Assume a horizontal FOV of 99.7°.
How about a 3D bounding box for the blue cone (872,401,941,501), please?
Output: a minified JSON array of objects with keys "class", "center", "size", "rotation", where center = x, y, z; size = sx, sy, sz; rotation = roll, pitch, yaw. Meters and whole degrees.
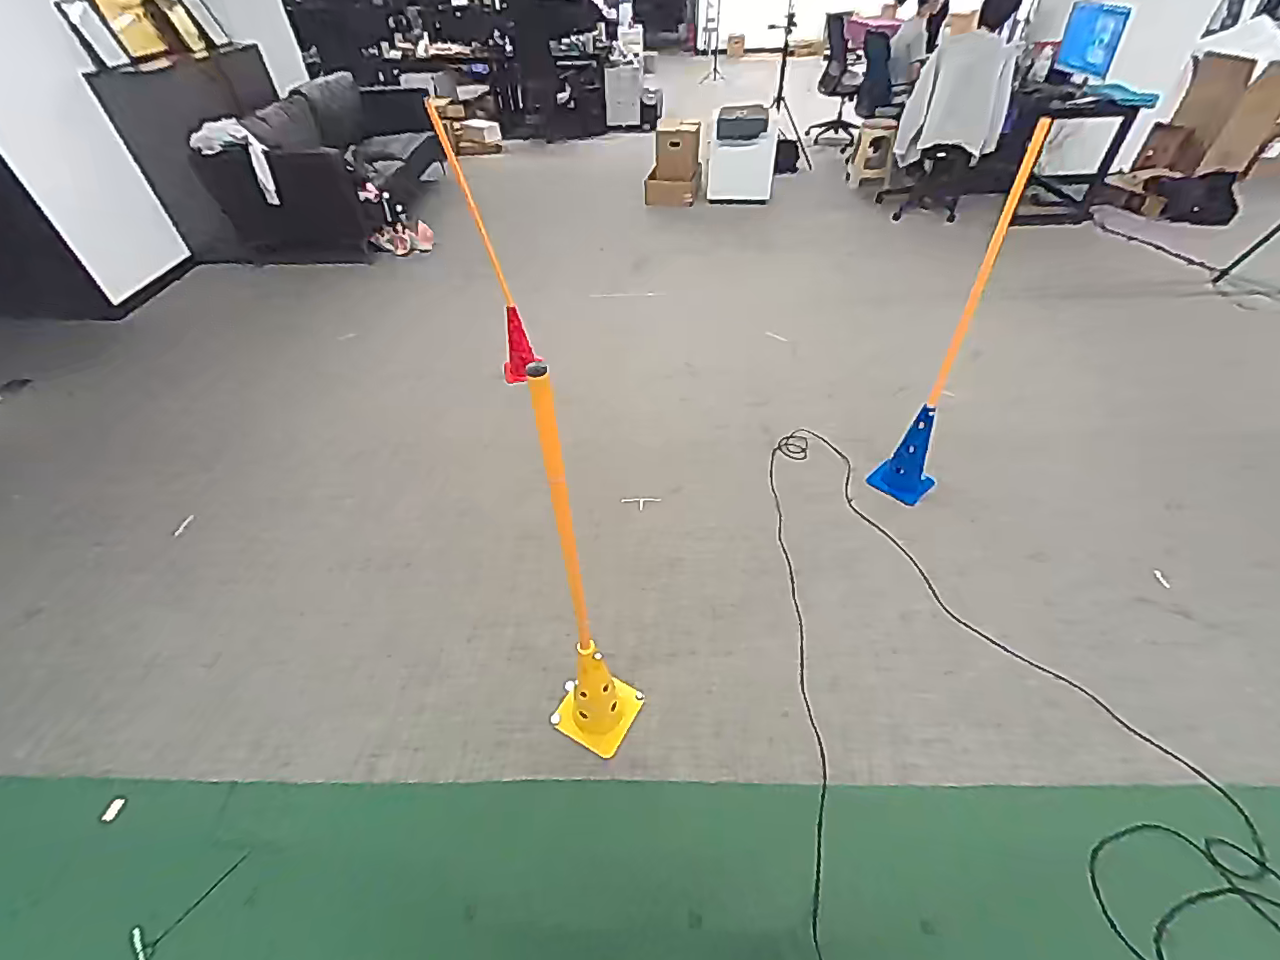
[{"class":"blue cone","center":[1.018,-0.127,1.999],"size":[0.193,0.380,0.192],"rotation":[-33,51,-31]}]
